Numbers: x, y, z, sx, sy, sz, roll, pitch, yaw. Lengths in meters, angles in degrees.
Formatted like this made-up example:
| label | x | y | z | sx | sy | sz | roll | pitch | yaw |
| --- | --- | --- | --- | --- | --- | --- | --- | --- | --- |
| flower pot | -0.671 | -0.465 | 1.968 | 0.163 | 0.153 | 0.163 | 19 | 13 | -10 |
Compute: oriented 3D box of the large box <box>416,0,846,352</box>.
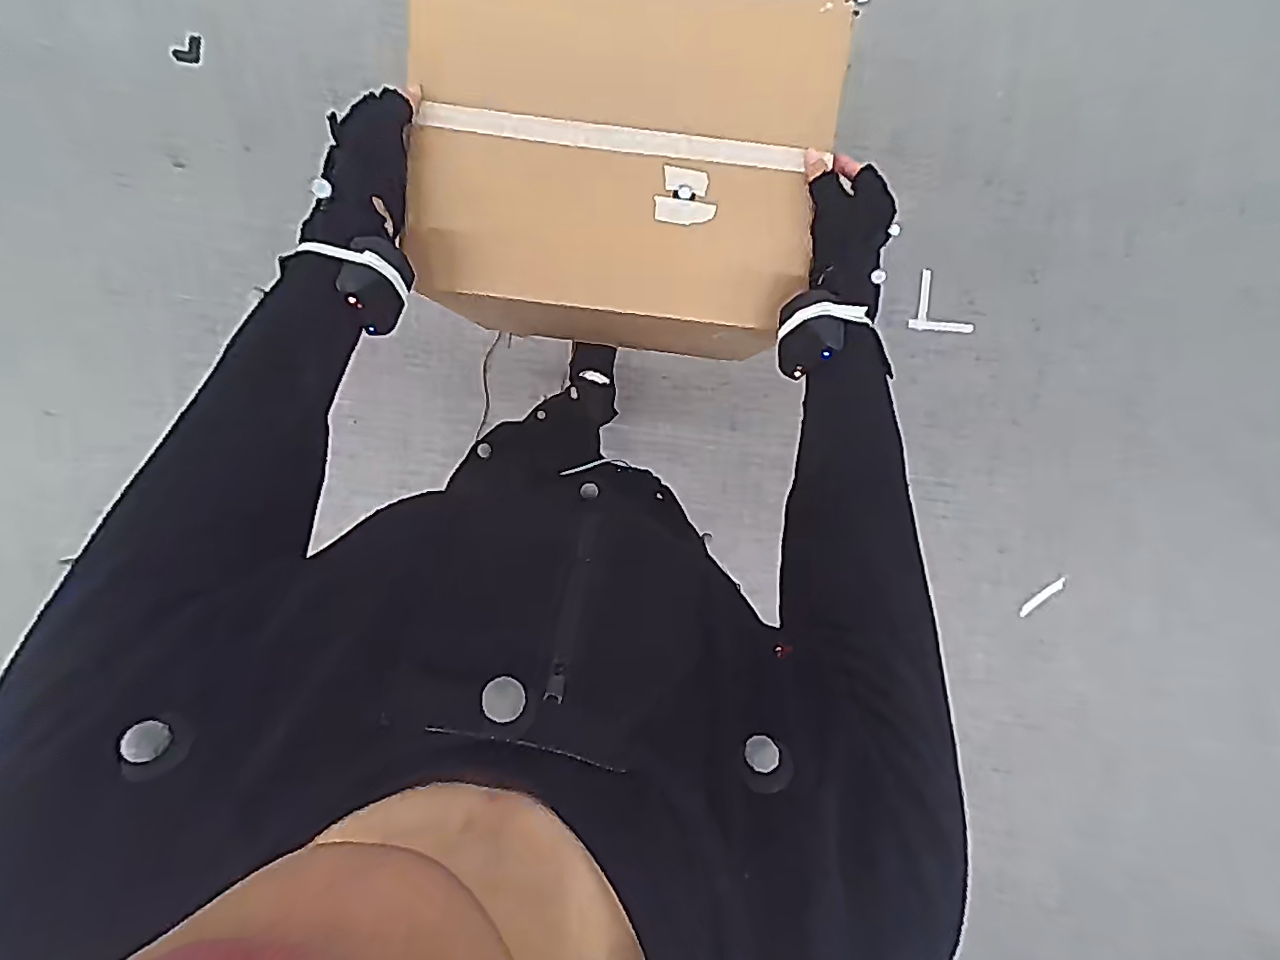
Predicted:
| label | x | y | z | sx | sy | sz | roll | pitch | yaw |
| --- | --- | --- | --- | --- | --- | --- | --- | --- | --- |
| large box | -0.018 | -0.349 | 0.675 | 0.408 | 0.320 | 0.320 | 6 | 98 | -2 |
